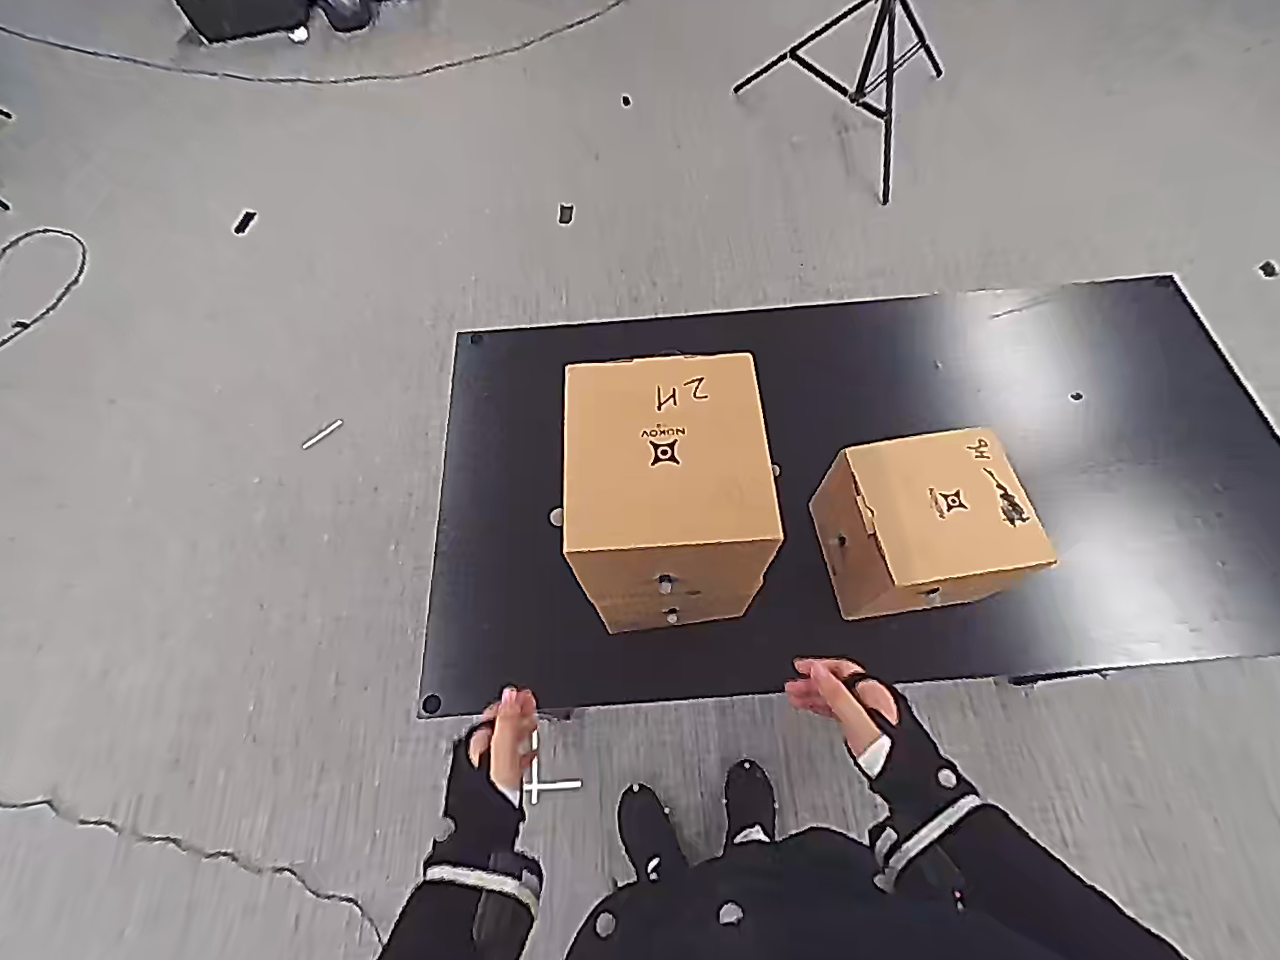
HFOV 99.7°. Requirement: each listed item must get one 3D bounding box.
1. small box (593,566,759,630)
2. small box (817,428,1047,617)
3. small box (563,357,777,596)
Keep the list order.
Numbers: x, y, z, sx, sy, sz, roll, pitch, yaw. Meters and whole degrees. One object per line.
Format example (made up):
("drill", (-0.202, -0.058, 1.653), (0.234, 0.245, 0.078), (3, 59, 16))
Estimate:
("small box", (0.033, 0.080, 0.664), (0.179, 0.176, 0.168), (-8, 64, 0))
("small box", (0.328, 0.060, 0.659), (0.179, 0.176, 0.168), (-9, 64, 0))
("small box", (0.024, 0.008, 0.515), (0.168, 0.176, 0.179), (-3, 64, 1))
